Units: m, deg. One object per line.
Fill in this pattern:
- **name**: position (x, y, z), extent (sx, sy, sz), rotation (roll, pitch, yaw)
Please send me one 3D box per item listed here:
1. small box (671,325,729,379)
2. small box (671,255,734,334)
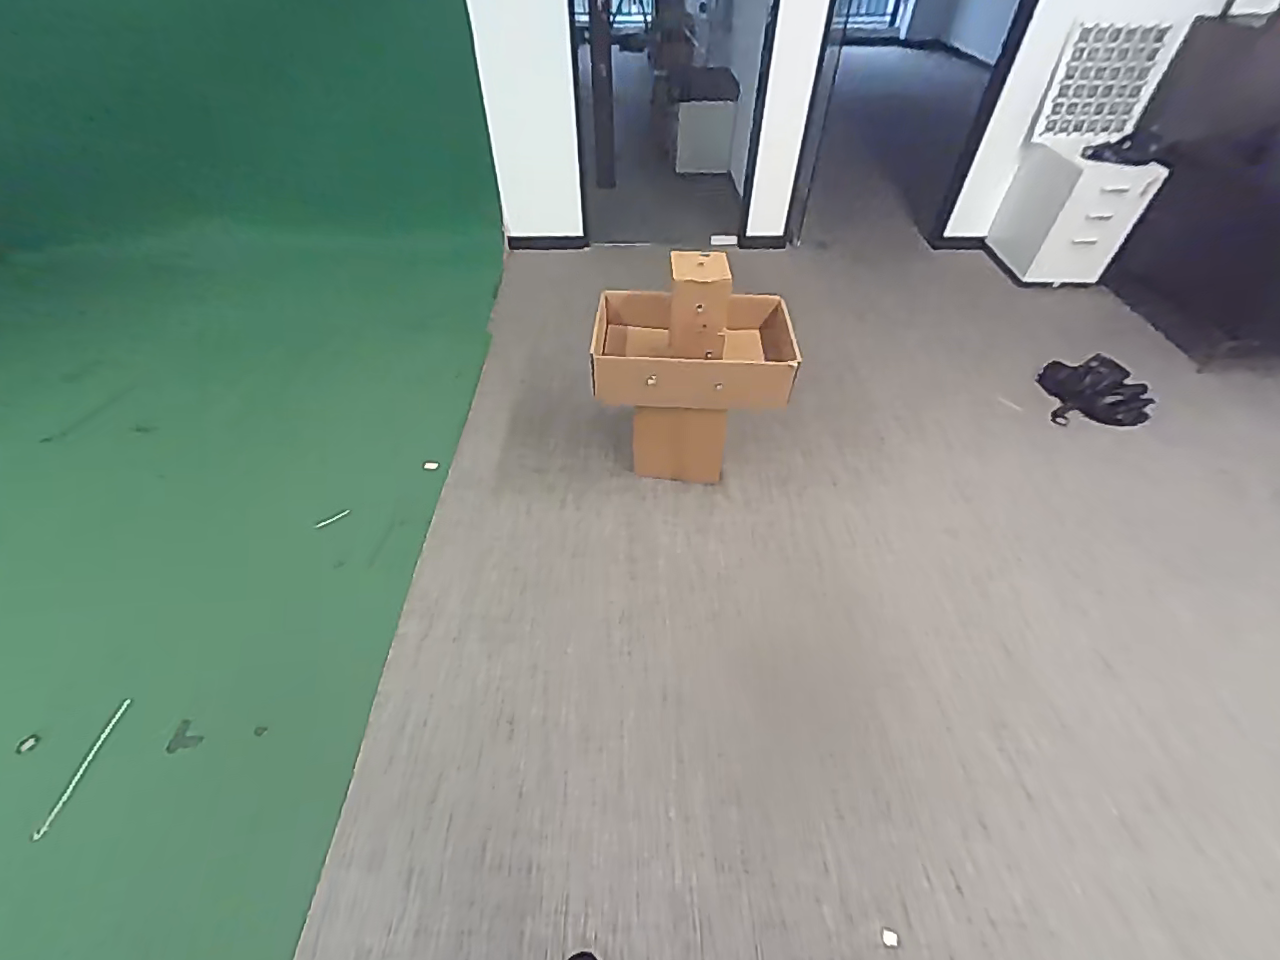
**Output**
- **small box**: position (0.186, -0.440, 1.736), extent (0.168, 0.176, 0.179), rotation (1, 45, -1)
- **small box**: position (0.182, -0.554, 1.619), extent (0.168, 0.176, 0.179), rotation (1, 47, -1)
